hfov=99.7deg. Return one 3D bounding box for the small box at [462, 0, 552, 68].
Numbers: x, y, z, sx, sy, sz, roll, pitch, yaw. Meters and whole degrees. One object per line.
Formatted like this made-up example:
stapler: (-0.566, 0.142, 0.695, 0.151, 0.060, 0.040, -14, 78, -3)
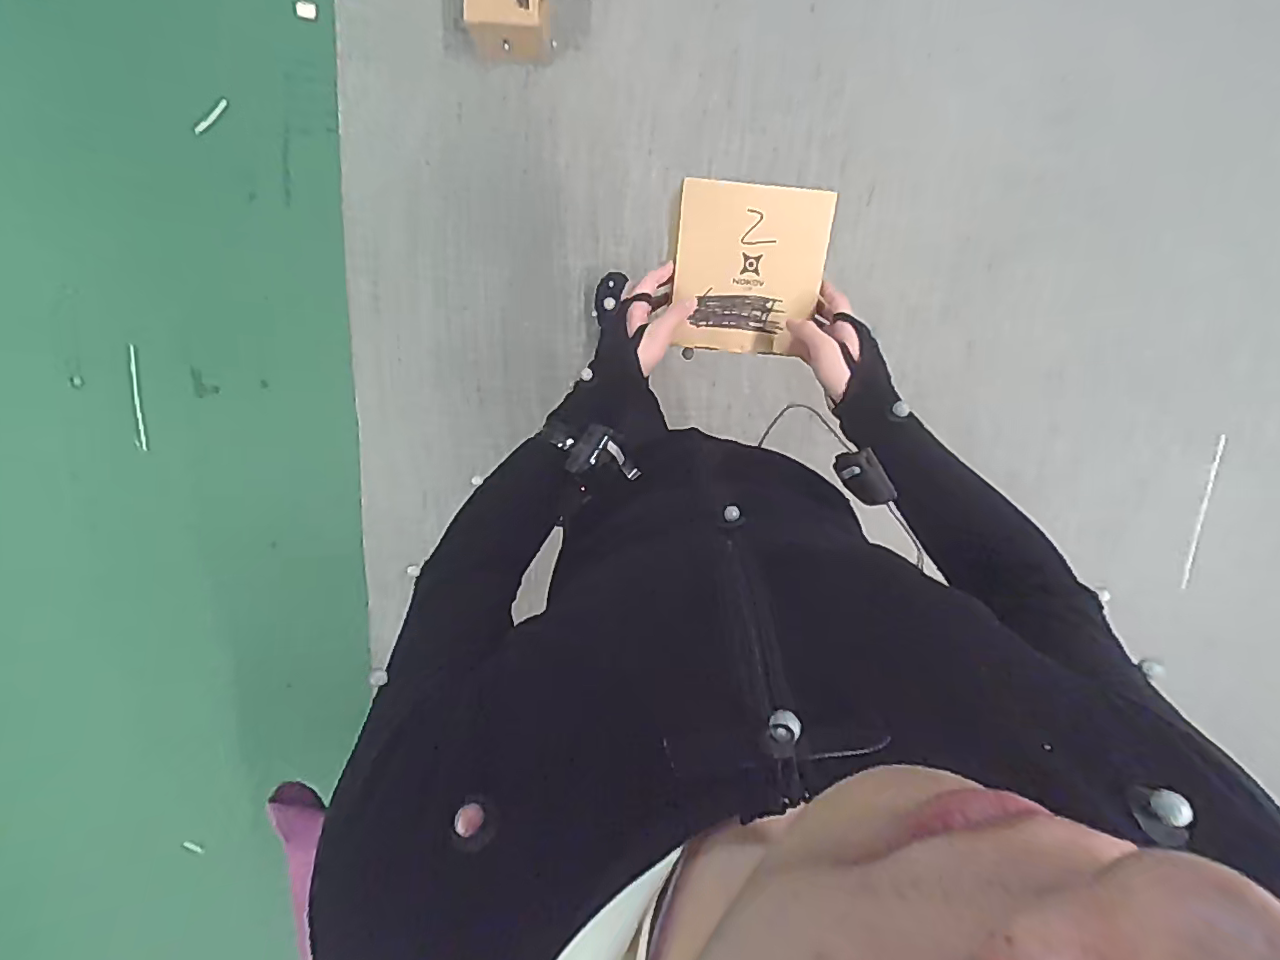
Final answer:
small box: (-0.308, -1.115, 1.282, 0.179, 0.176, 0.168, 4, 101, 1)
